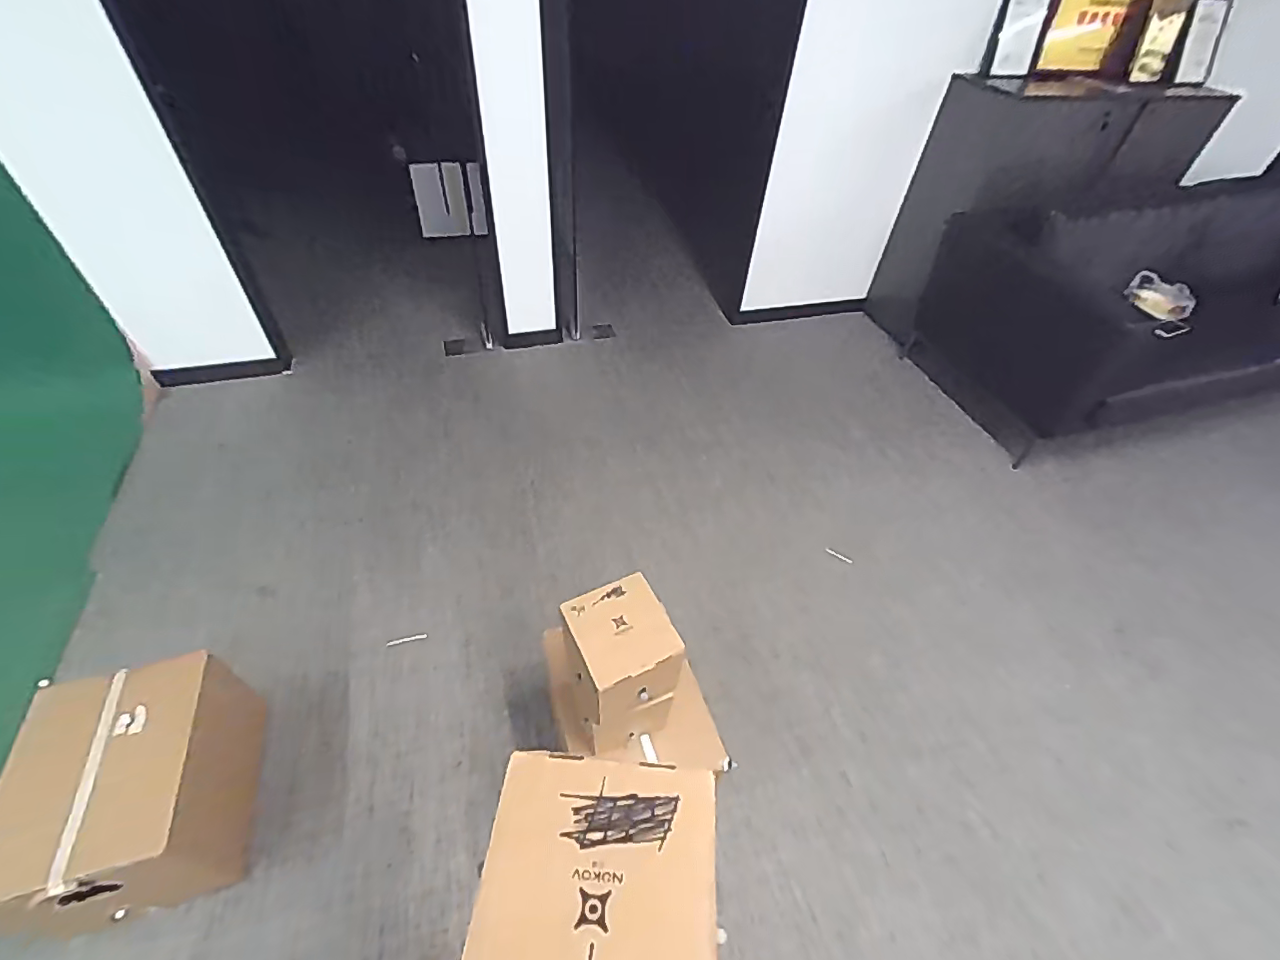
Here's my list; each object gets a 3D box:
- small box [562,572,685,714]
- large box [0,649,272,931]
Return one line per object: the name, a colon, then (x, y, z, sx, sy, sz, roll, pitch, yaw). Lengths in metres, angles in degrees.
small box: (-0.033, 0.307, 0.999, 0.168, 0.176, 0.179, -19, 52, -19)
large box: (-1.042, 0.648, 1.154, 0.320, 0.320, 0.408, -11, 48, -14)
